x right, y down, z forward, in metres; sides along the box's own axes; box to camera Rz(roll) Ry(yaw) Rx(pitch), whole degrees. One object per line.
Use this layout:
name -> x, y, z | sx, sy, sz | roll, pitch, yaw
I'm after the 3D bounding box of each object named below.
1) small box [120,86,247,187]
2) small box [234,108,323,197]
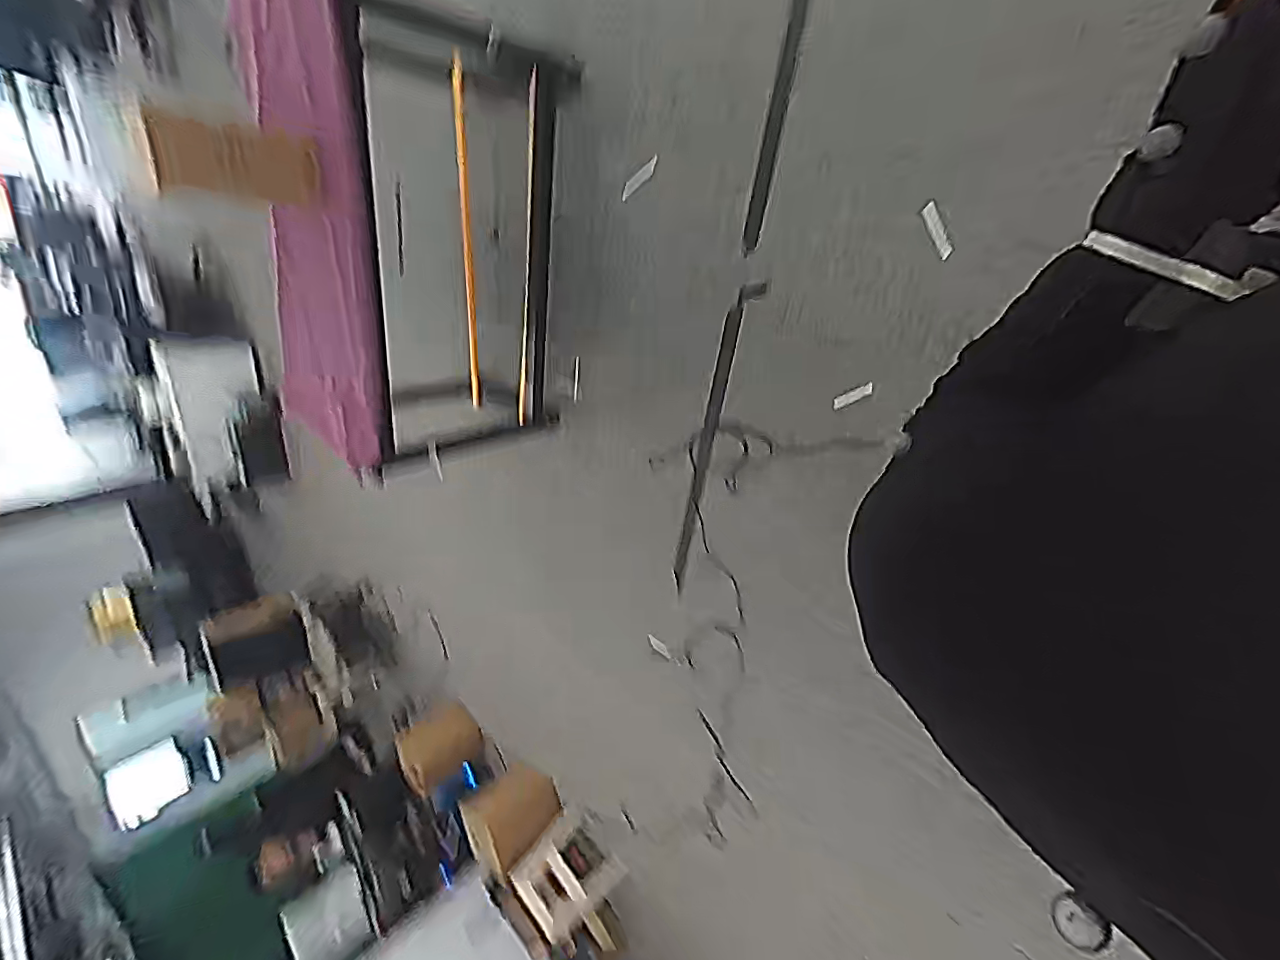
small box -> -1.020, -0.766, 1.216 | 0.179, 0.176, 0.168 | 29, 124, 32
small box -> -0.912, -0.806, 1.335 | 0.179, 0.176, 0.168 | 29, 124, 31
